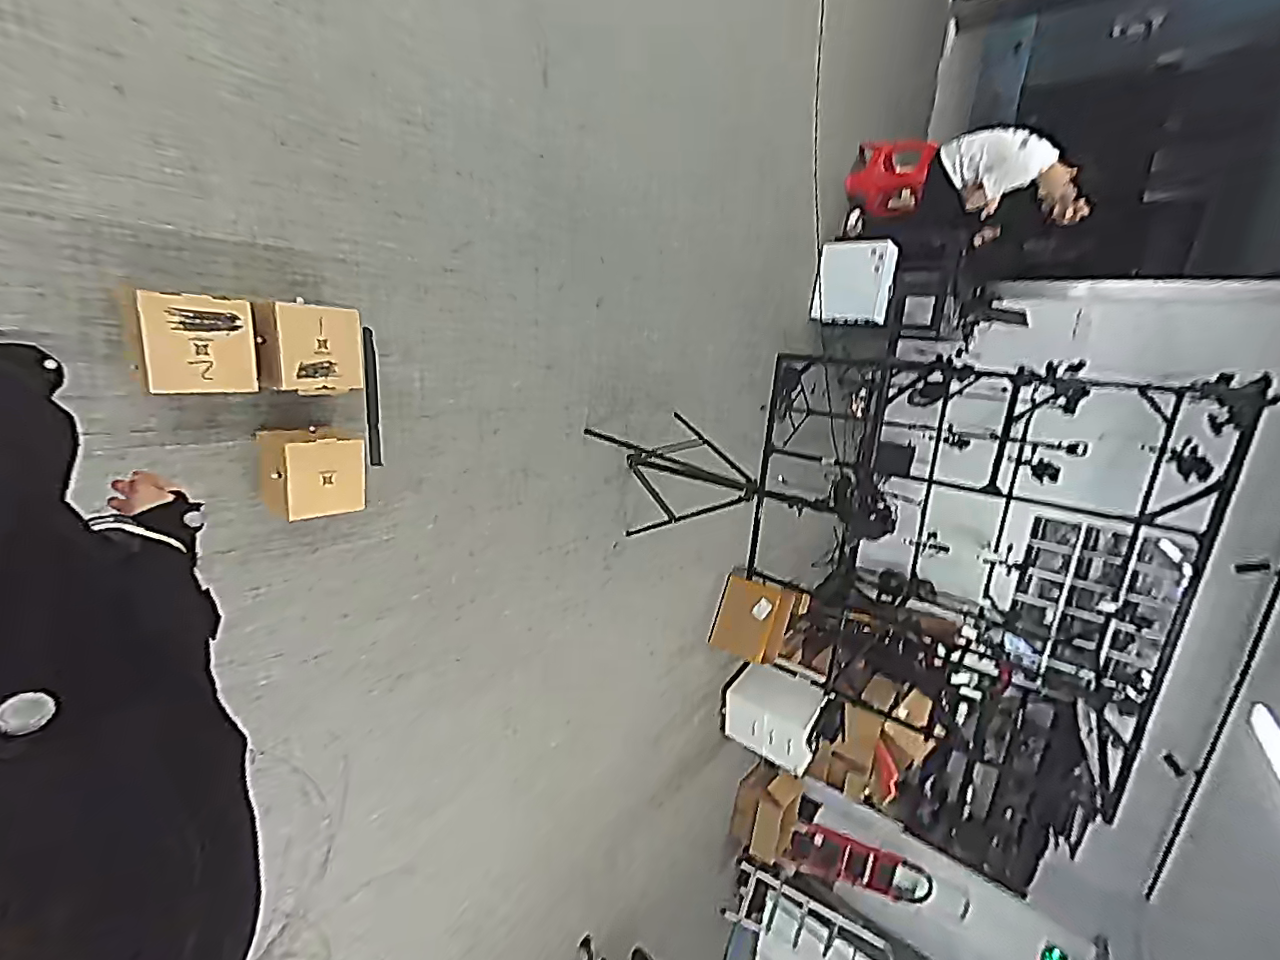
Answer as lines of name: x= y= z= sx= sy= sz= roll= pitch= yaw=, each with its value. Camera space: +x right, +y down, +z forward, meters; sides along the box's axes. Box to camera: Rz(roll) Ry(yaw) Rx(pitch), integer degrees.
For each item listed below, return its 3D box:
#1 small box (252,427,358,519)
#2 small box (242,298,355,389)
small box: x=-0.780 y=-0.024 z=1.260 sx=0.168 sy=0.176 sz=0.179 roll=-10 pitch=110 yaw=-51
small box: x=-0.752 y=-0.299 z=1.194 sx=0.168 sy=0.176 sz=0.179 roll=-12 pitch=111 yaw=-51
